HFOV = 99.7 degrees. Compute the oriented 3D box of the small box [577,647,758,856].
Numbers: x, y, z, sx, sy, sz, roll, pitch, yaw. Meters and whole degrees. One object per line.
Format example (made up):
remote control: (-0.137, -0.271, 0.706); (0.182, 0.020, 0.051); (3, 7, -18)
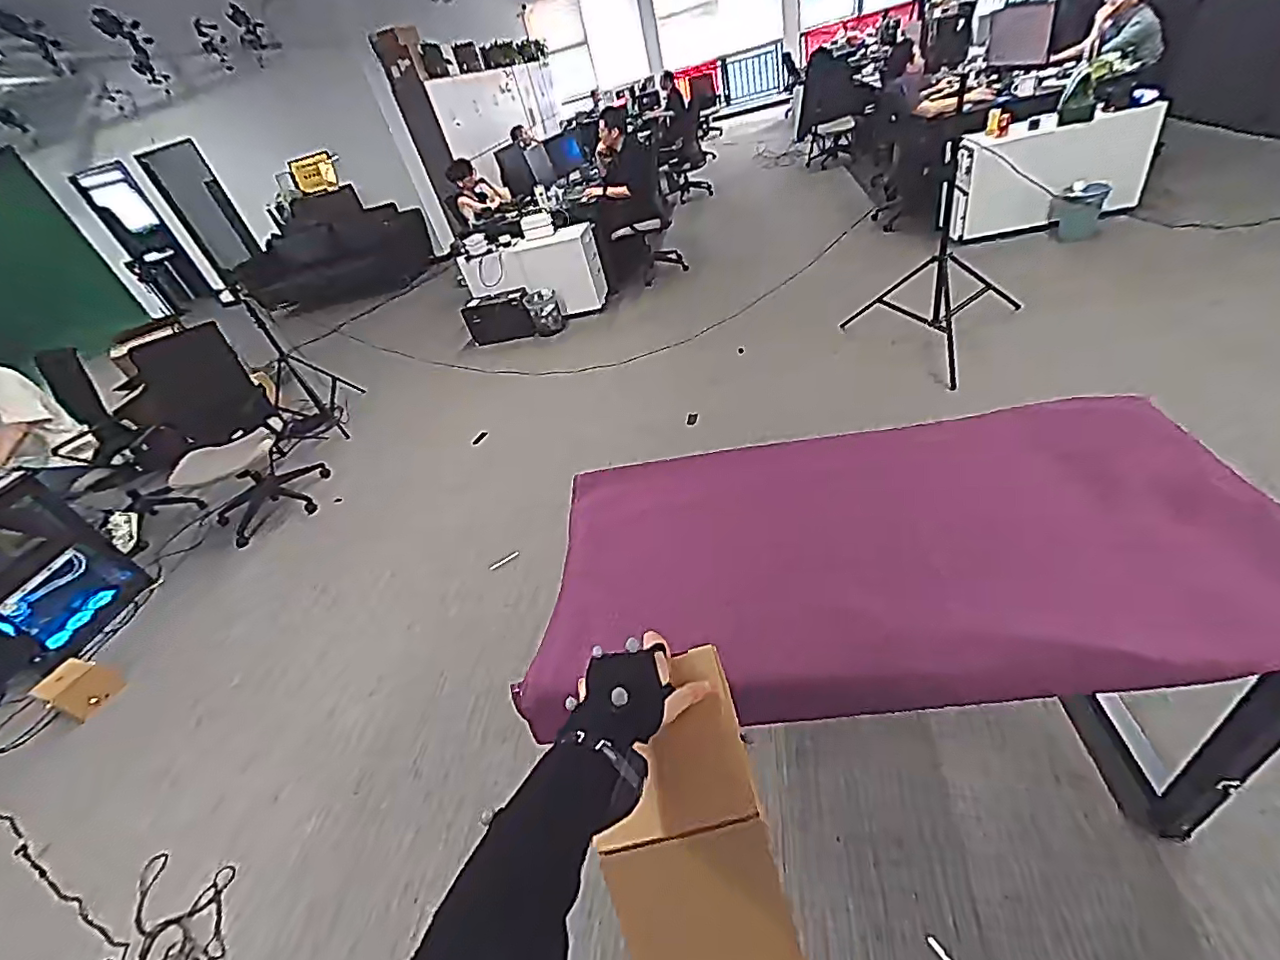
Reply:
small box: (0.036, 0.325, 0.639); (0.168, 0.176, 0.179); (-16, 52, 4)
